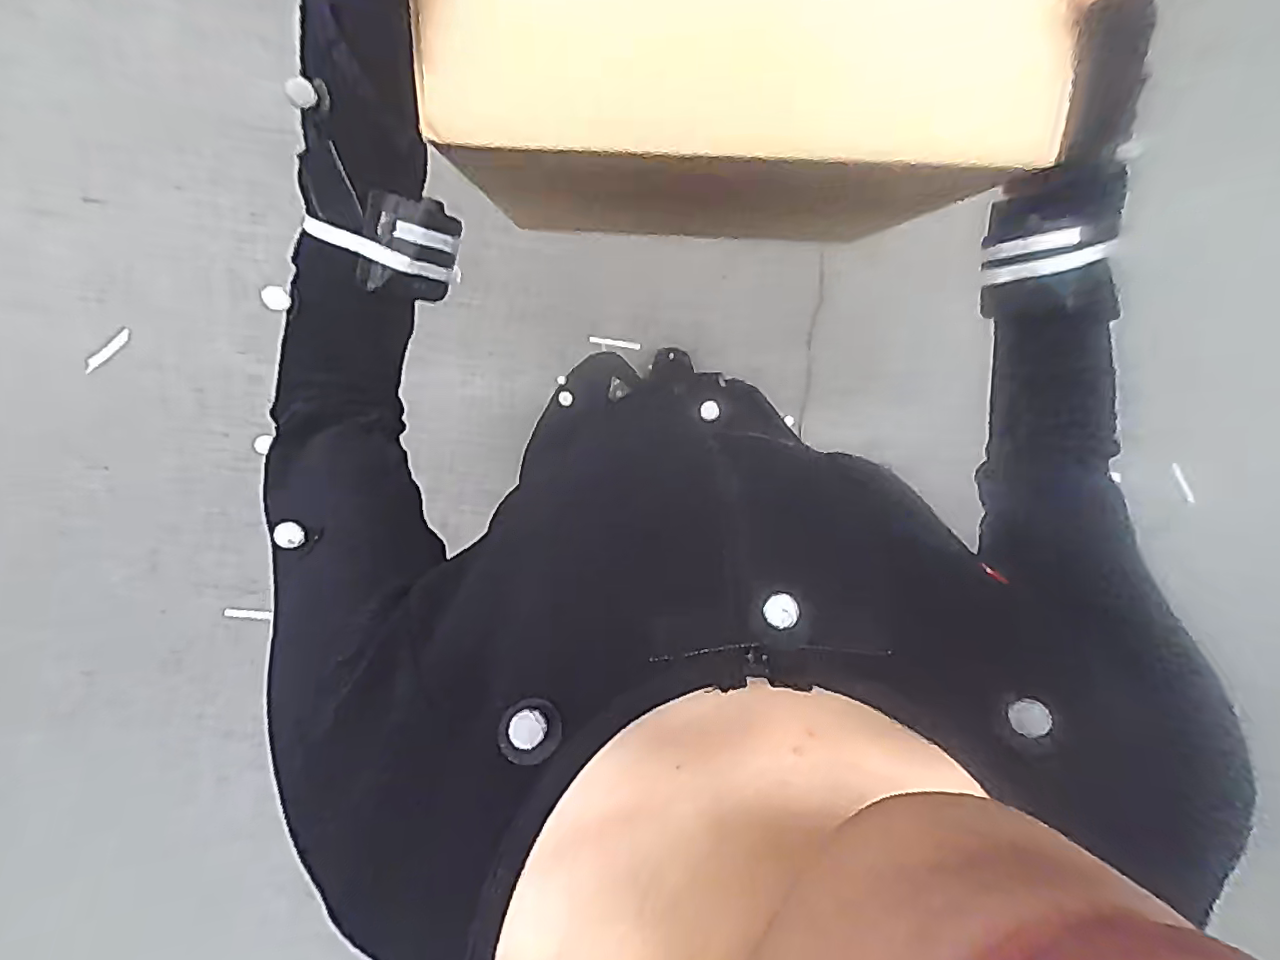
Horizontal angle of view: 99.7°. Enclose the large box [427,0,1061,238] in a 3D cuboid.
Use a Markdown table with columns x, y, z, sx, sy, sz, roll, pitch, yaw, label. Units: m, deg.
| x | y | z | sx | sy | sz | roll | pitch | yaw | label |
| --- | --- | --- | --- | --- | --- | --- | --- | --- | --- |
| 0.062 | -0.402 | 0.463 | 0.408 | 0.320 | 0.320 | 1 | 105 | -2 | large box |
